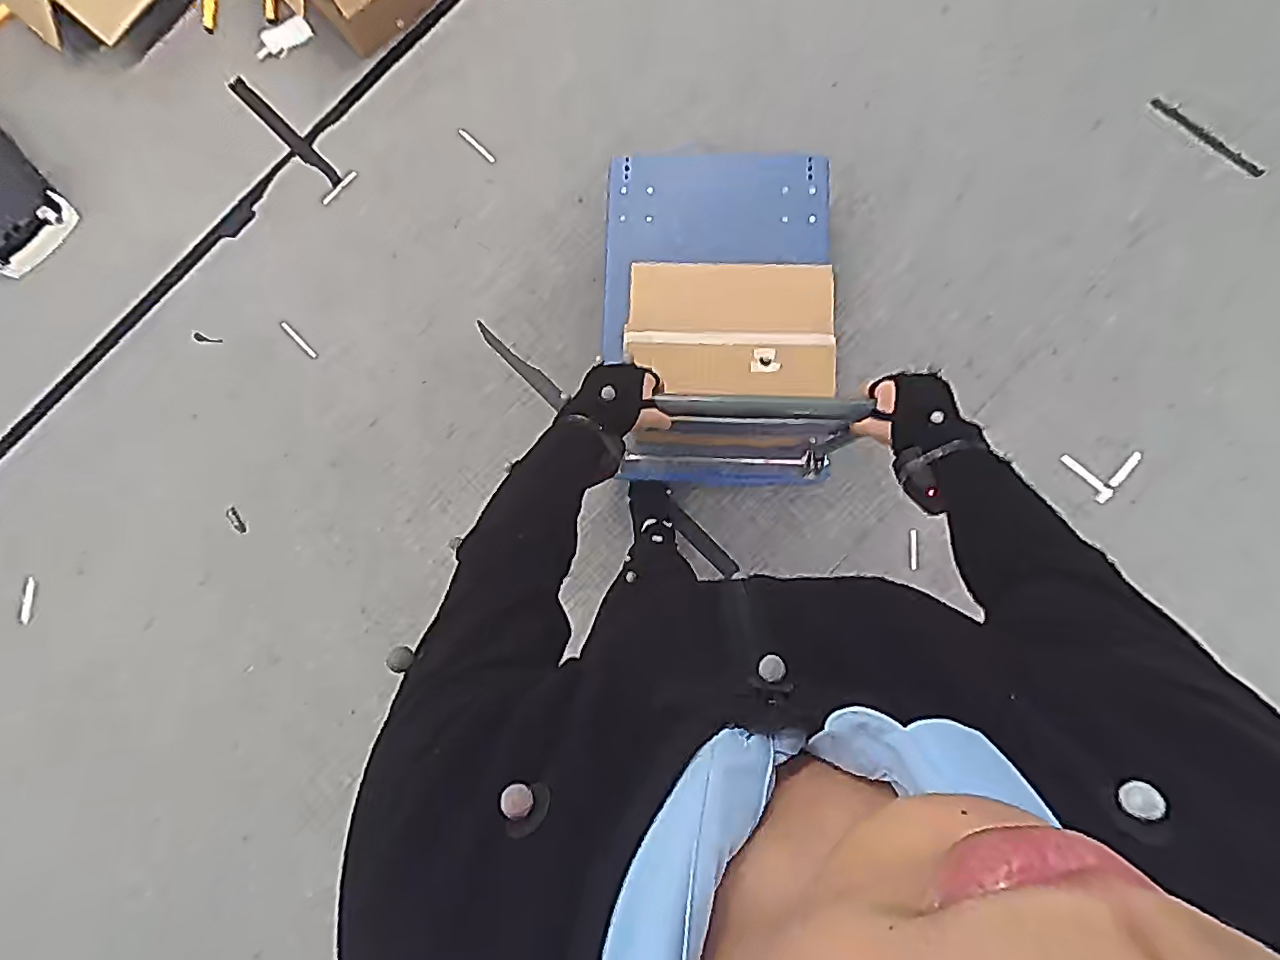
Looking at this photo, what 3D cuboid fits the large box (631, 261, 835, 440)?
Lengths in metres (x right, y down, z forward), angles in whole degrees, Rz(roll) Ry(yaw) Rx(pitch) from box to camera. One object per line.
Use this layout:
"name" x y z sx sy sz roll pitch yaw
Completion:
"large box" 0.183 -0.269 1.215 0.408 0.320 0.320 1 84 1
